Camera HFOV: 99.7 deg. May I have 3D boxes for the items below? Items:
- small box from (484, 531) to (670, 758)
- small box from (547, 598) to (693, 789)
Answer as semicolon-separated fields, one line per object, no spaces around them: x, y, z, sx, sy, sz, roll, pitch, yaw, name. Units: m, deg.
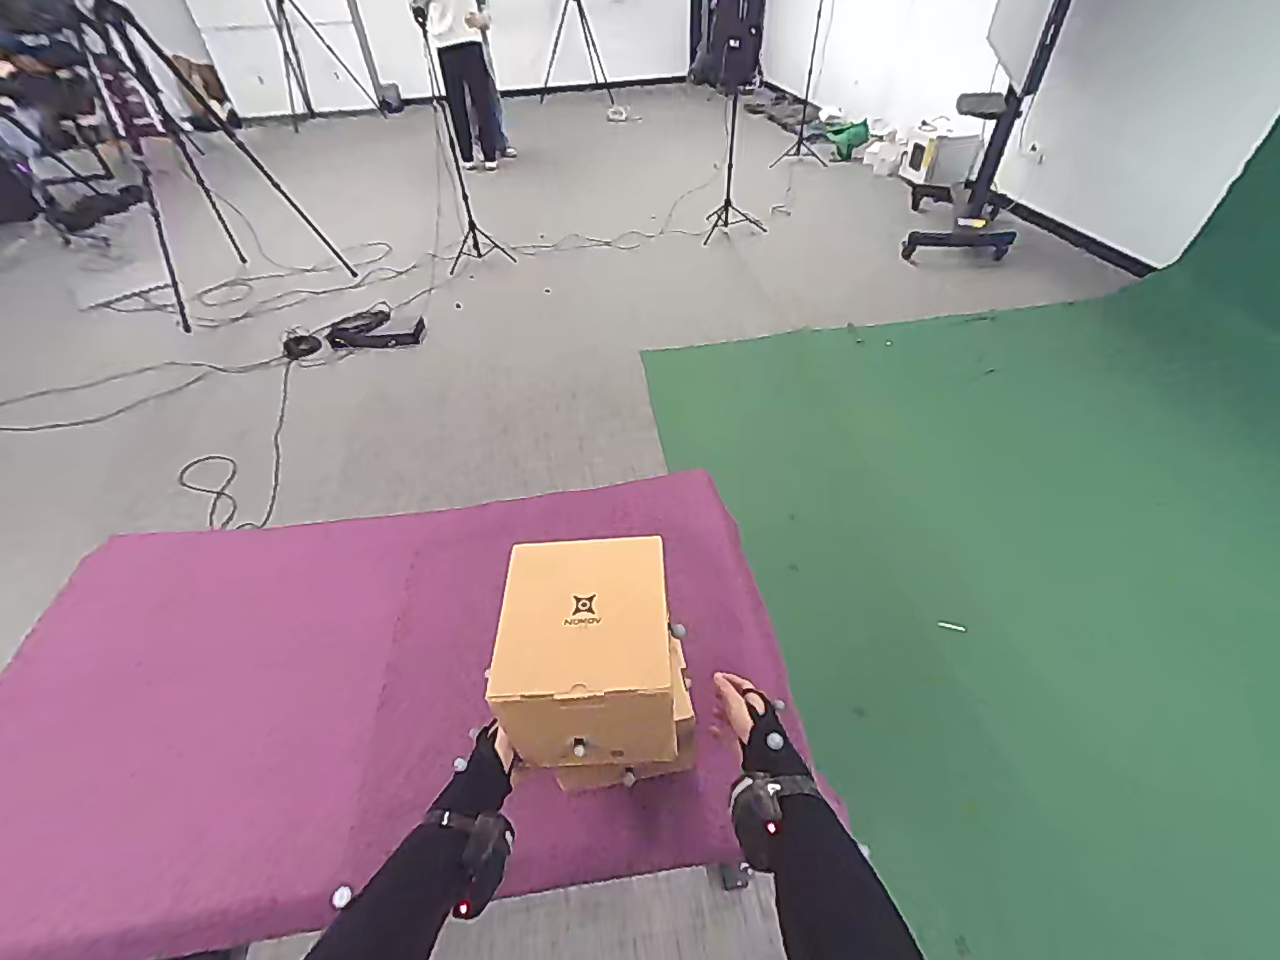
-0.054;0.177;0.585;0.168;0.176;0.179;-4;44;1;small box
-0.035;0.280;0.713;0.179;0.176;0.168;-9;43;-5;small box
